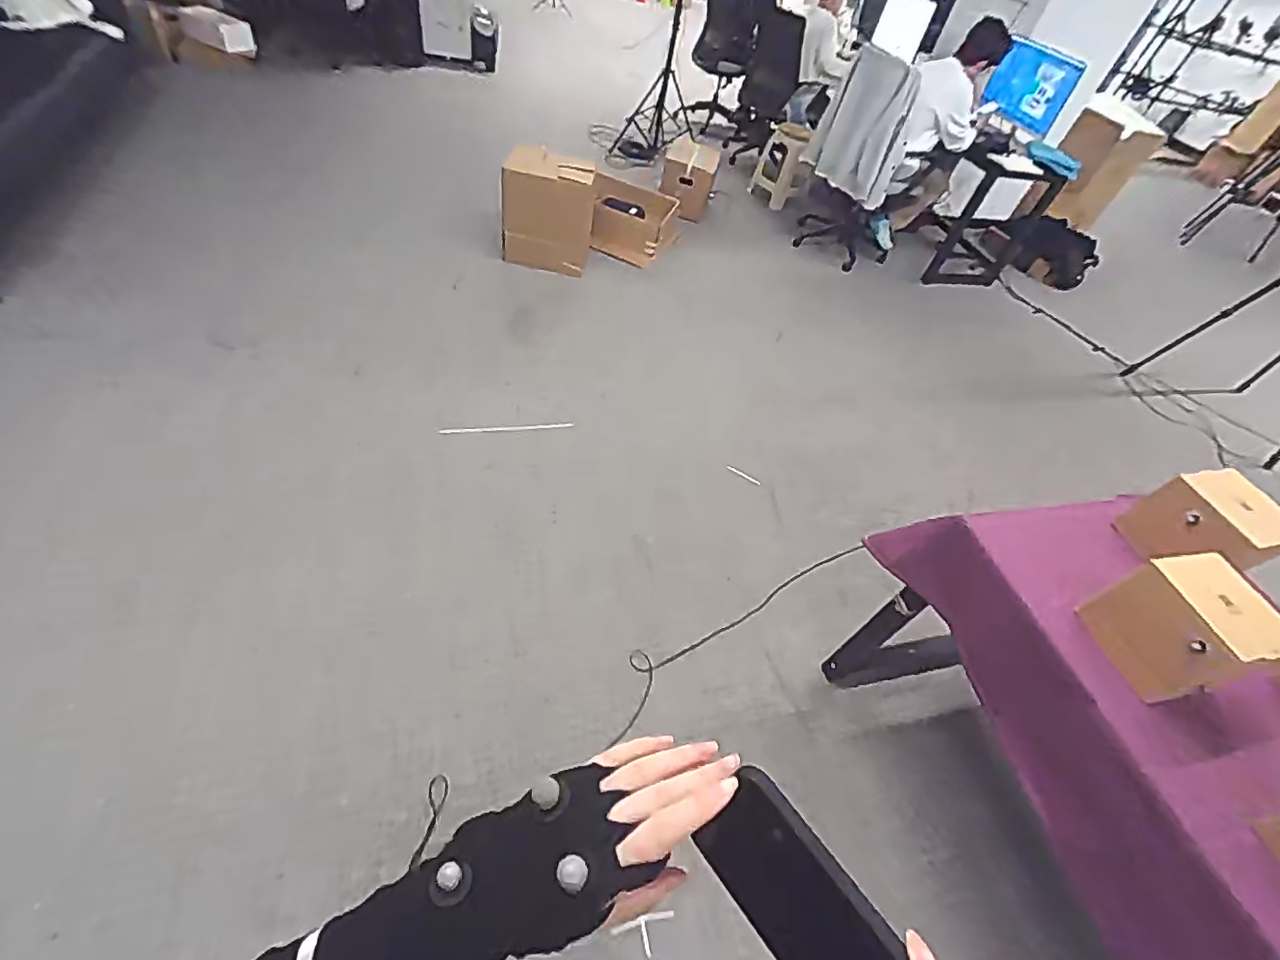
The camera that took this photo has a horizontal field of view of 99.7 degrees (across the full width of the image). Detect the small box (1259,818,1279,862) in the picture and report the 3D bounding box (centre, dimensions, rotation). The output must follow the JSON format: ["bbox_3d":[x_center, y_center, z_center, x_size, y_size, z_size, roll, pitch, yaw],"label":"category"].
[{"bbox_3d":[0.998,0.518,0.697,0.168,0.176,0.179,-1,51,-14],"label":"small box"}]

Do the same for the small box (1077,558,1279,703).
[{"bbox_3d":[0.904,0.252,0.909,0.168,0.176,0.179,-2,51,-16],"label":"small box"}]
